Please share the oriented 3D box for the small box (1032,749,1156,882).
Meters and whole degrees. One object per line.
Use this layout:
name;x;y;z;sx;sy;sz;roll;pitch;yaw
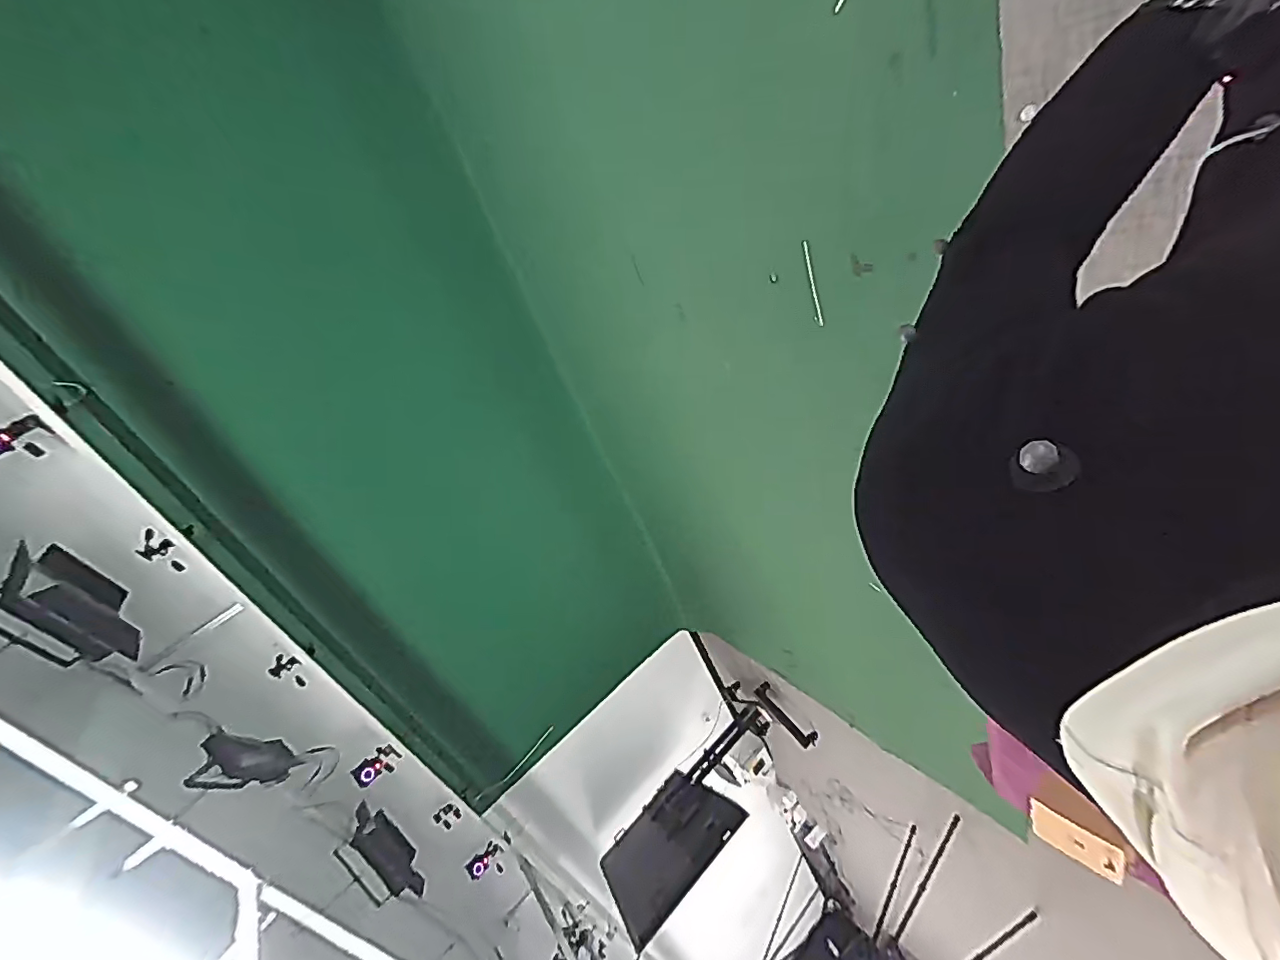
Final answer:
small box;1.051;0.766;1.258;0.179;0.176;0.168;19;142;53
